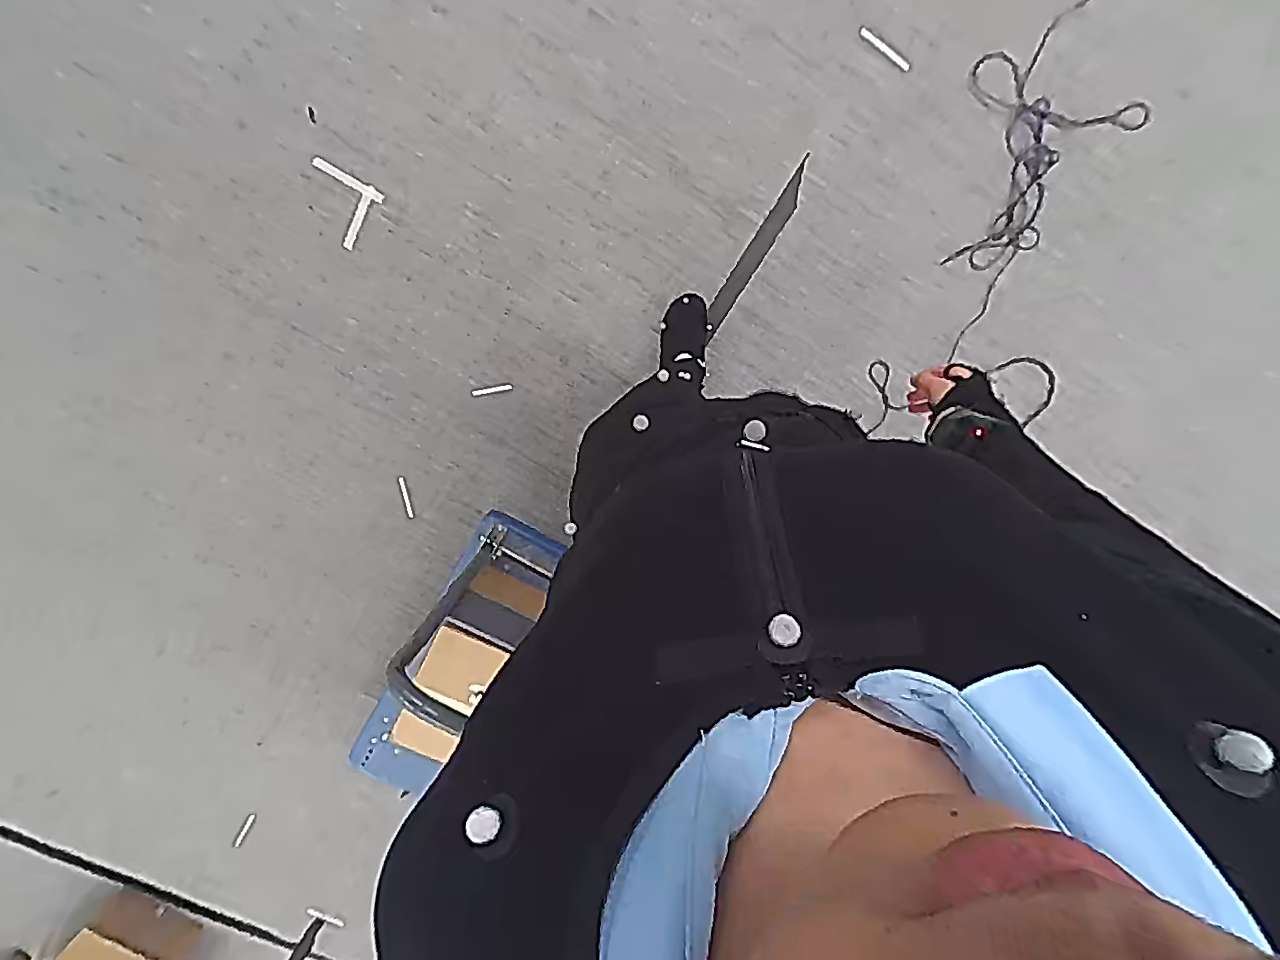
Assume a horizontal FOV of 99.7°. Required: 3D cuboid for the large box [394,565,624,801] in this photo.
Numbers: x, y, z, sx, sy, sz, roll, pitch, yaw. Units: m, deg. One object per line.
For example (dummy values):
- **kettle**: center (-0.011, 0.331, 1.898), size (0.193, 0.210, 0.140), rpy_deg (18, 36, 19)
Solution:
- **large box**: center (-0.284, 0.464, 1.291), size (0.408, 0.320, 0.320), rpy_deg (27, 102, -6)
